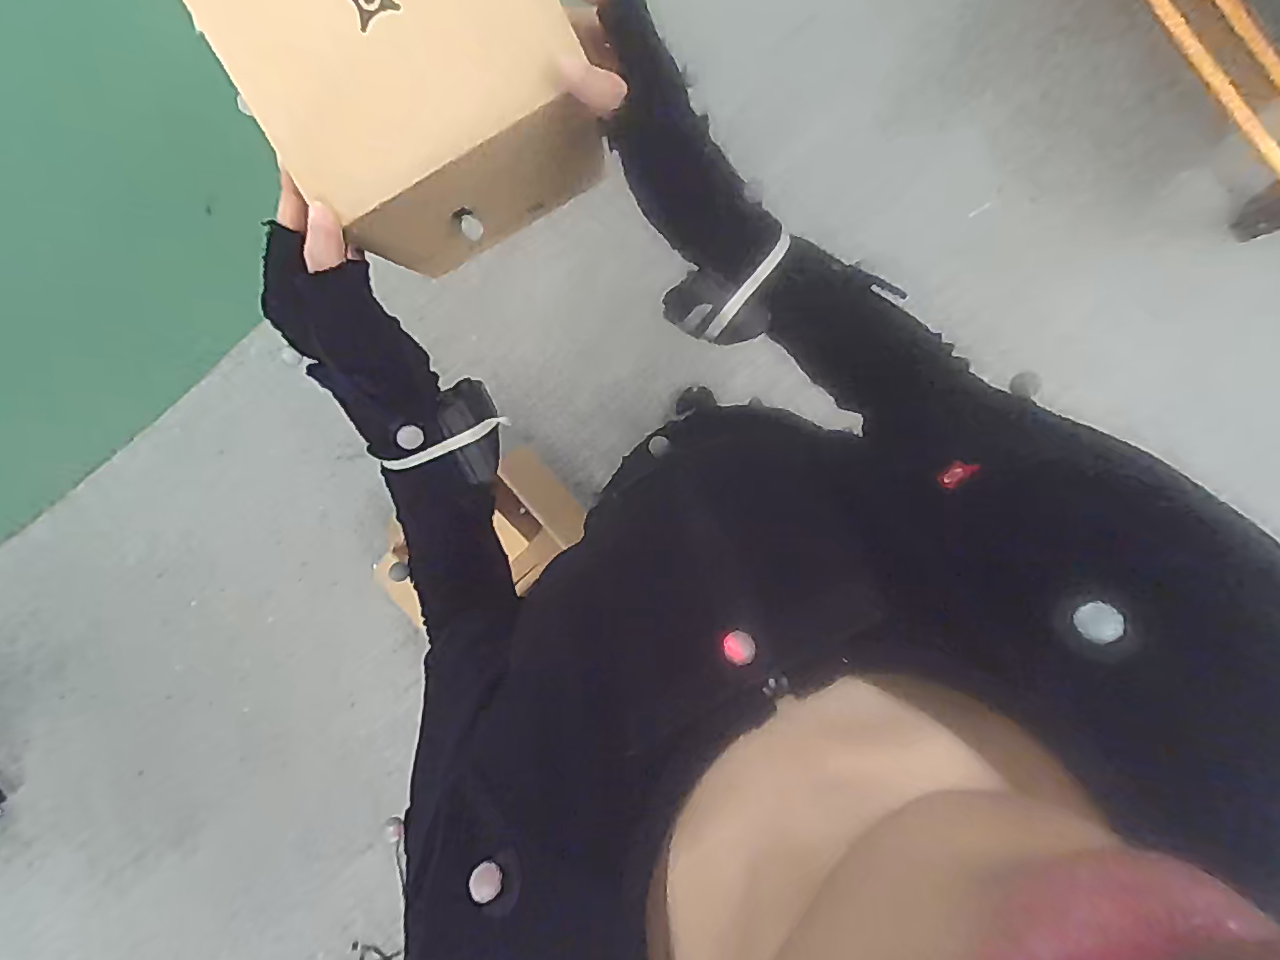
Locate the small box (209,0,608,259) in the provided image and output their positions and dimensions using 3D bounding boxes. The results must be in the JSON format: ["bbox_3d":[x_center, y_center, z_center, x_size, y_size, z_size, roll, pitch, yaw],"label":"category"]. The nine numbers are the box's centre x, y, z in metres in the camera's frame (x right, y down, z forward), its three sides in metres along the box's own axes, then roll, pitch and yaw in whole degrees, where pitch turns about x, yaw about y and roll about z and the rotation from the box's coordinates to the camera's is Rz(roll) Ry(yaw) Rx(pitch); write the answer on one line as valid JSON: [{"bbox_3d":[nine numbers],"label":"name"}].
[{"bbox_3d":[-0.130,-0.266,0.354,0.168,0.176,0.179,-29,101,5],"label":"small box"}]
